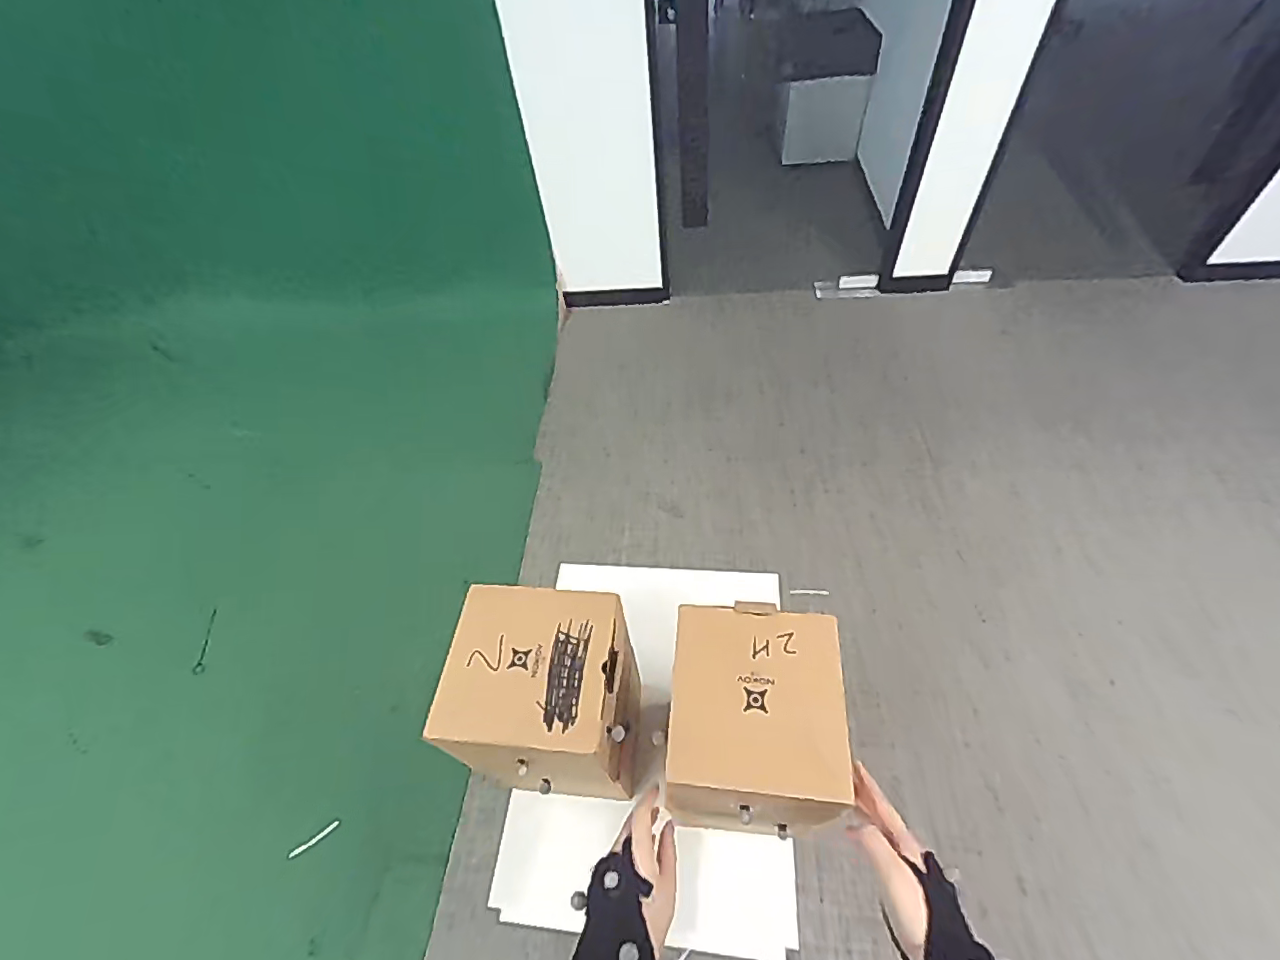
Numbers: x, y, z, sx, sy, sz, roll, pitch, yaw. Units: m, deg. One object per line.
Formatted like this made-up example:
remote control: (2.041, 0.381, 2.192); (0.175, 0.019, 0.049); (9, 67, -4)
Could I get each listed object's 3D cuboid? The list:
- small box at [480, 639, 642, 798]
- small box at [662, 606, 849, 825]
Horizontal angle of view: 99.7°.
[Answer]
small box: (-0.096, 0.336, 0.757); (0.179, 0.176, 0.168); (2, 53, 6)
small box: (0.118, 0.257, 0.584); (0.168, 0.176, 0.179); (3, 52, 8)
